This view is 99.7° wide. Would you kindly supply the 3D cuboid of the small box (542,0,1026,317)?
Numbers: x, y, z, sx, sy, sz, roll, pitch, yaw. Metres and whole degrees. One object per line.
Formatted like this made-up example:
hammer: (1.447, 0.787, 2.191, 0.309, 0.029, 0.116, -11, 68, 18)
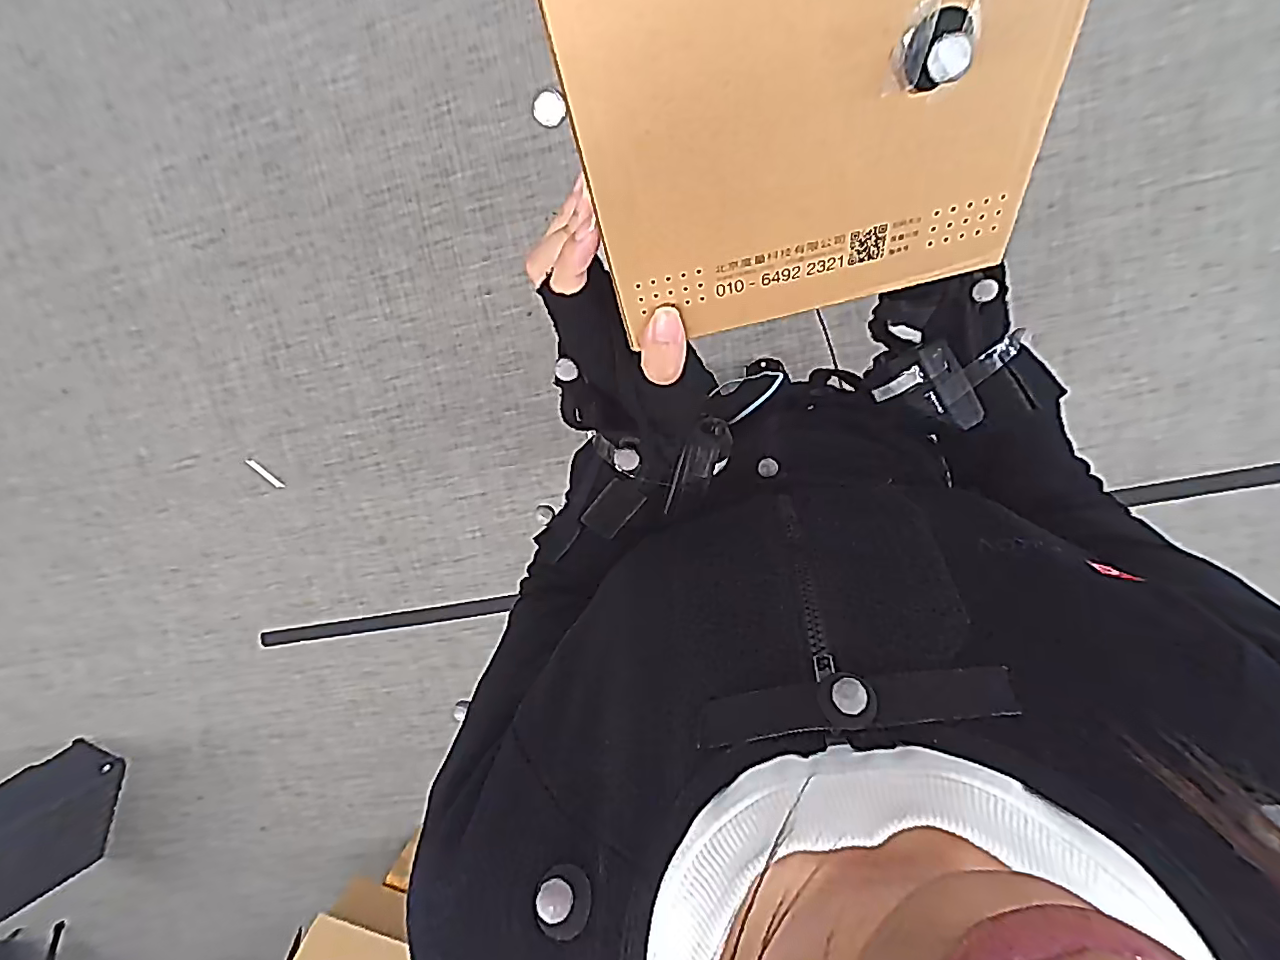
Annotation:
small box: (0.053, -0.196, 0.254, 0.168, 0.179, 0.176, -12, 140, 5)
